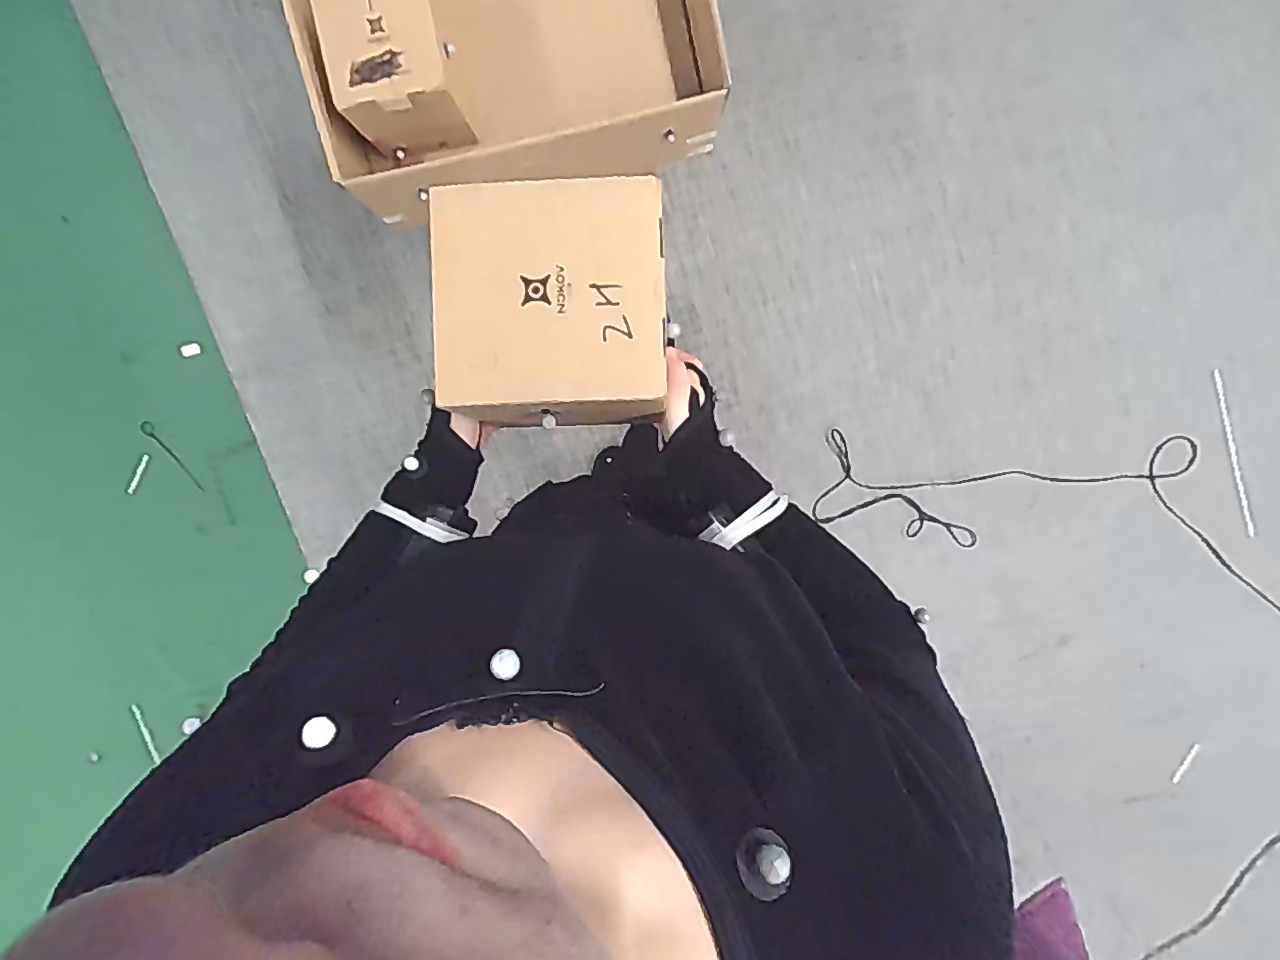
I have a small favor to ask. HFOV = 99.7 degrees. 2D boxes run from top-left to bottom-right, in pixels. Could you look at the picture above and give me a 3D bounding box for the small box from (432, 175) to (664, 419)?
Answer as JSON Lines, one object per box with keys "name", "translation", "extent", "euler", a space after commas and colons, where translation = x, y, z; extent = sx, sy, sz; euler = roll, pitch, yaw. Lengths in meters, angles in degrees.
{"name": "small box", "translation": [-0.068, -0.145, 0.485], "extent": [0.179, 0.176, 0.168], "euler": [-1, 91, 0]}
